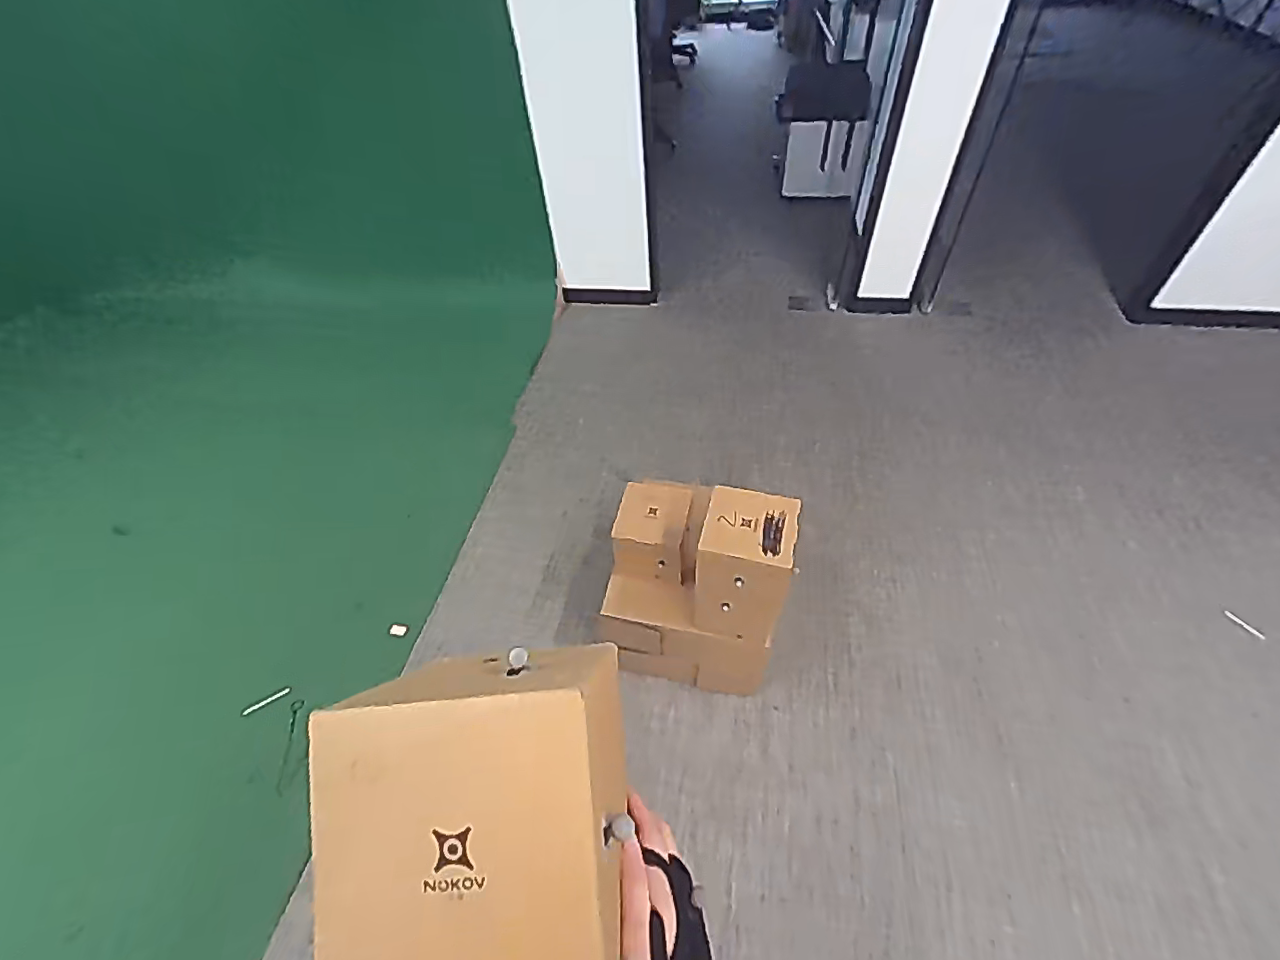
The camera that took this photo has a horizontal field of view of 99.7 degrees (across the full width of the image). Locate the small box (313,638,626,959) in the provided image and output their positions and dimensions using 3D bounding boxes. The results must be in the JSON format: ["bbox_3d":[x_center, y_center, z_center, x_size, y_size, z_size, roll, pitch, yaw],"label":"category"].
[{"bbox_3d":[-0.103,0.216,0.391,0.168,0.176,0.179,-6,83,3],"label":"small box"}]

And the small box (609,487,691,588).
[{"bbox_3d":[0.033,0.143,1.337,0.168,0.176,0.179,8,47,12],"label":"small box"}]

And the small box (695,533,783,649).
[{"bbox_3d":[0.219,0.250,1.219,0.168,0.176,0.179,10,48,13],"label":"small box"}]
